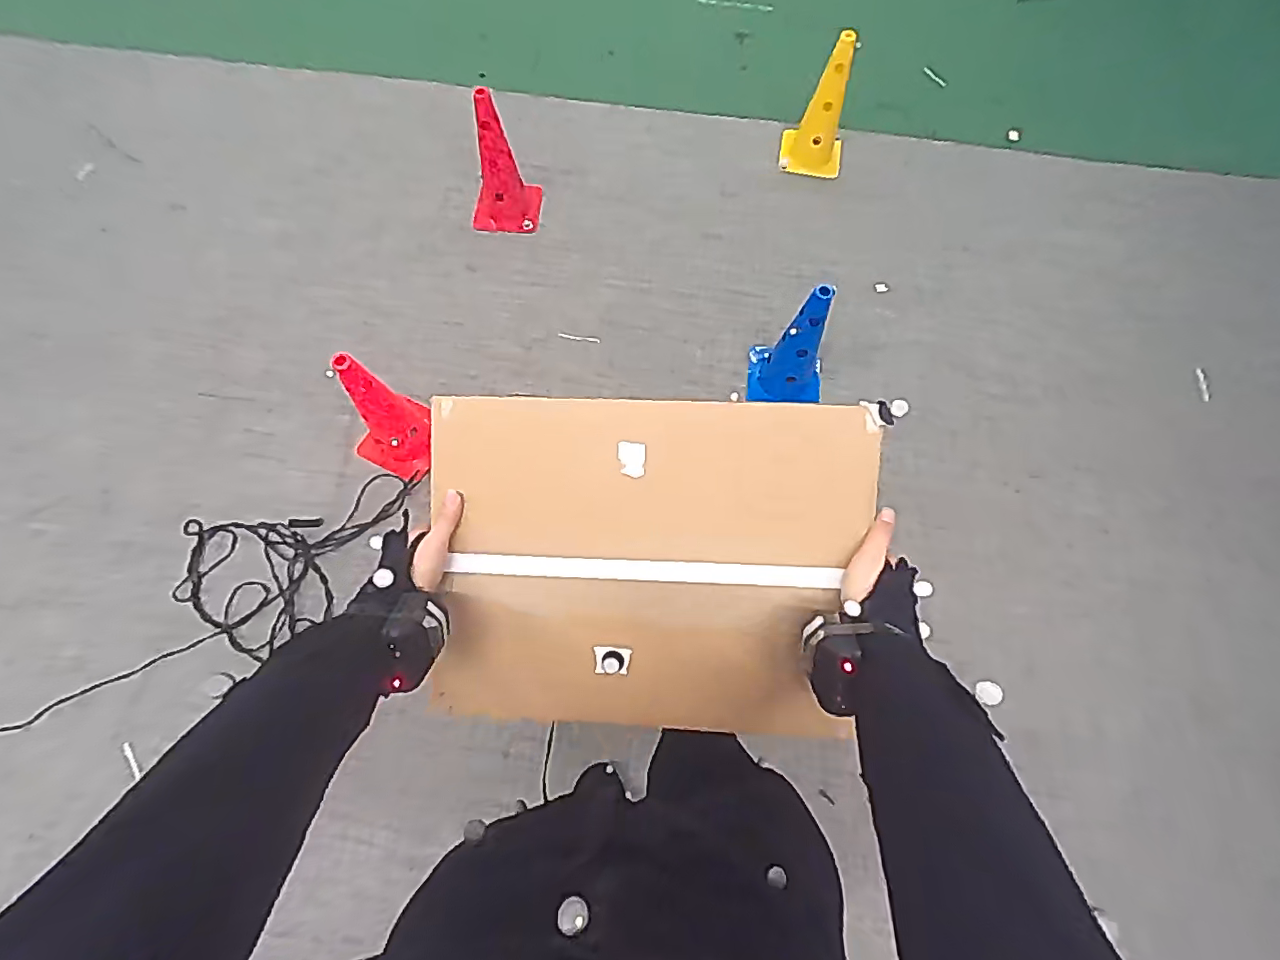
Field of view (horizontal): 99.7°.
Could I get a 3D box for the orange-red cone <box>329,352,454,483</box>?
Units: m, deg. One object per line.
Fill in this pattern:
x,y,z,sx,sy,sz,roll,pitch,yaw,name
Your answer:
-0.611,-0.172,1.252,0.199,0.360,0.198,26,68,12,orange-red cone

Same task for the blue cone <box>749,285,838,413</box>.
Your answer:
0.400,-0.337,1.341,0.192,0.380,0.193,9,68,3,blue cone

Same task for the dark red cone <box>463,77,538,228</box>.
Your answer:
-0.427,-0.931,1.549,0.202,0.394,0.201,1,64,1,dark red cone
